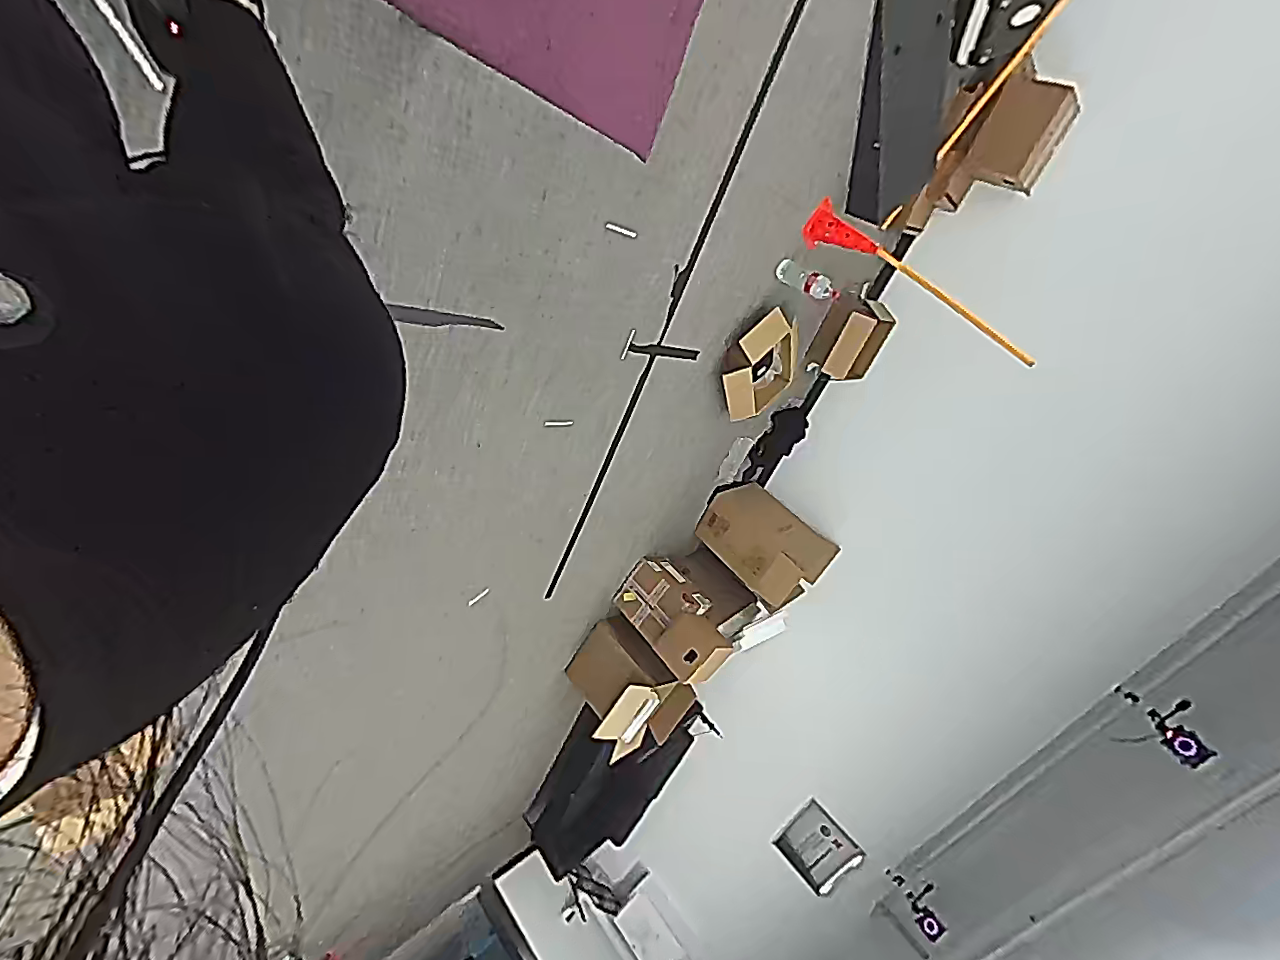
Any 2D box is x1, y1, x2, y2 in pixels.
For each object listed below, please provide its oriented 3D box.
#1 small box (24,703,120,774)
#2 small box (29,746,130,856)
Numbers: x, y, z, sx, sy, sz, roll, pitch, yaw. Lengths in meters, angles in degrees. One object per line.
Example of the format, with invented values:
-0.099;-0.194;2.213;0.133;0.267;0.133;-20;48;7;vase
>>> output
-1.652;0.781;1.574;0.168;0.176;0.179;-13;136;-46;small box
-1.546;0.879;1.496;0.168;0.176;0.179;-15;137;-45;small box
